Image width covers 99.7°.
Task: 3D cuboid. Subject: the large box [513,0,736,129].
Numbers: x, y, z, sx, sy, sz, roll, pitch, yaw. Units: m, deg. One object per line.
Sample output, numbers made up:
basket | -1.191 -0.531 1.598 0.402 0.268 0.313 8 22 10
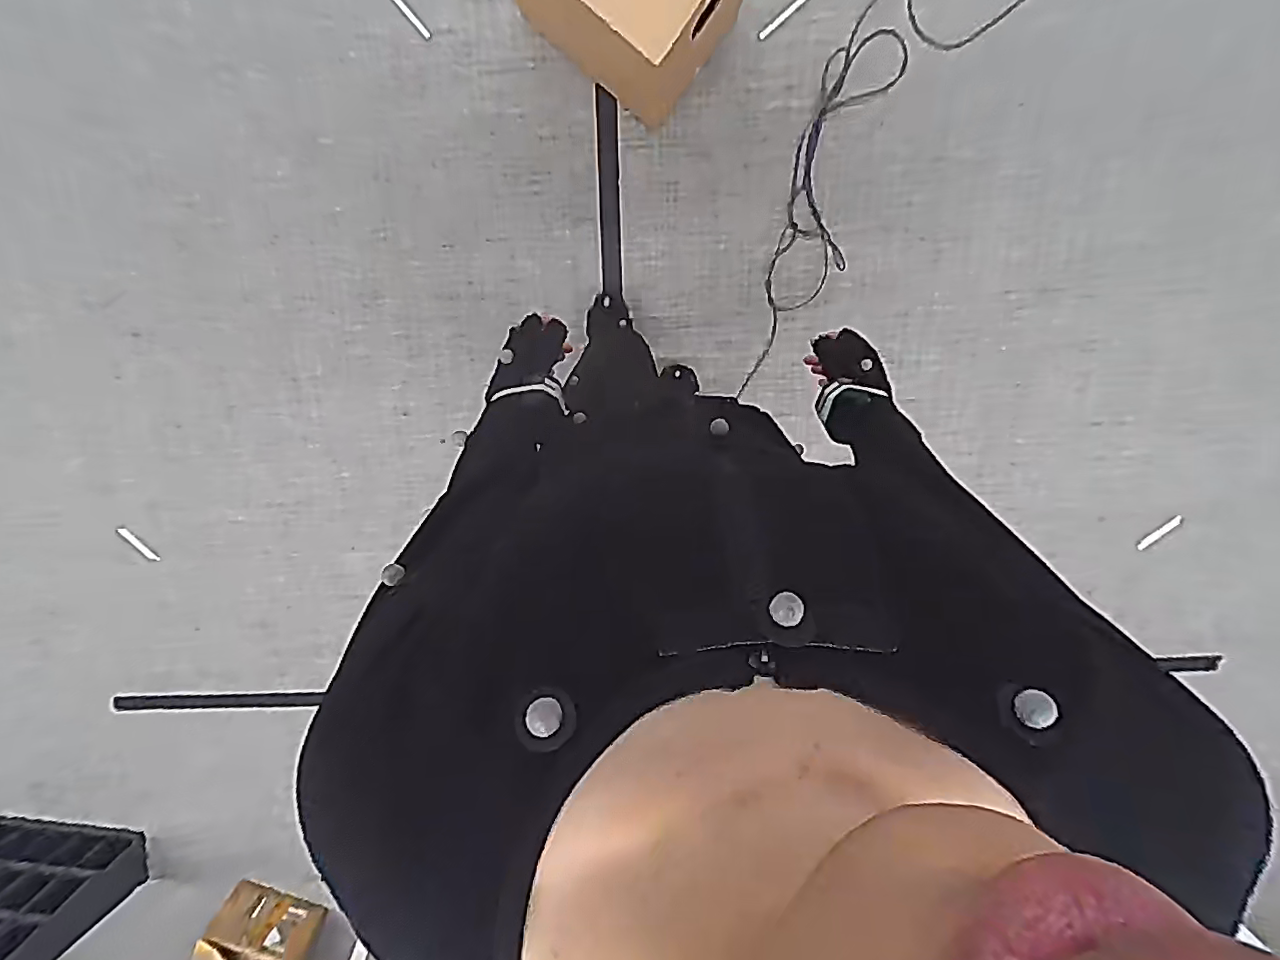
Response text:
large box | -0.033 -1.039 1.106 0.408 0.320 0.320 36 101 -8
